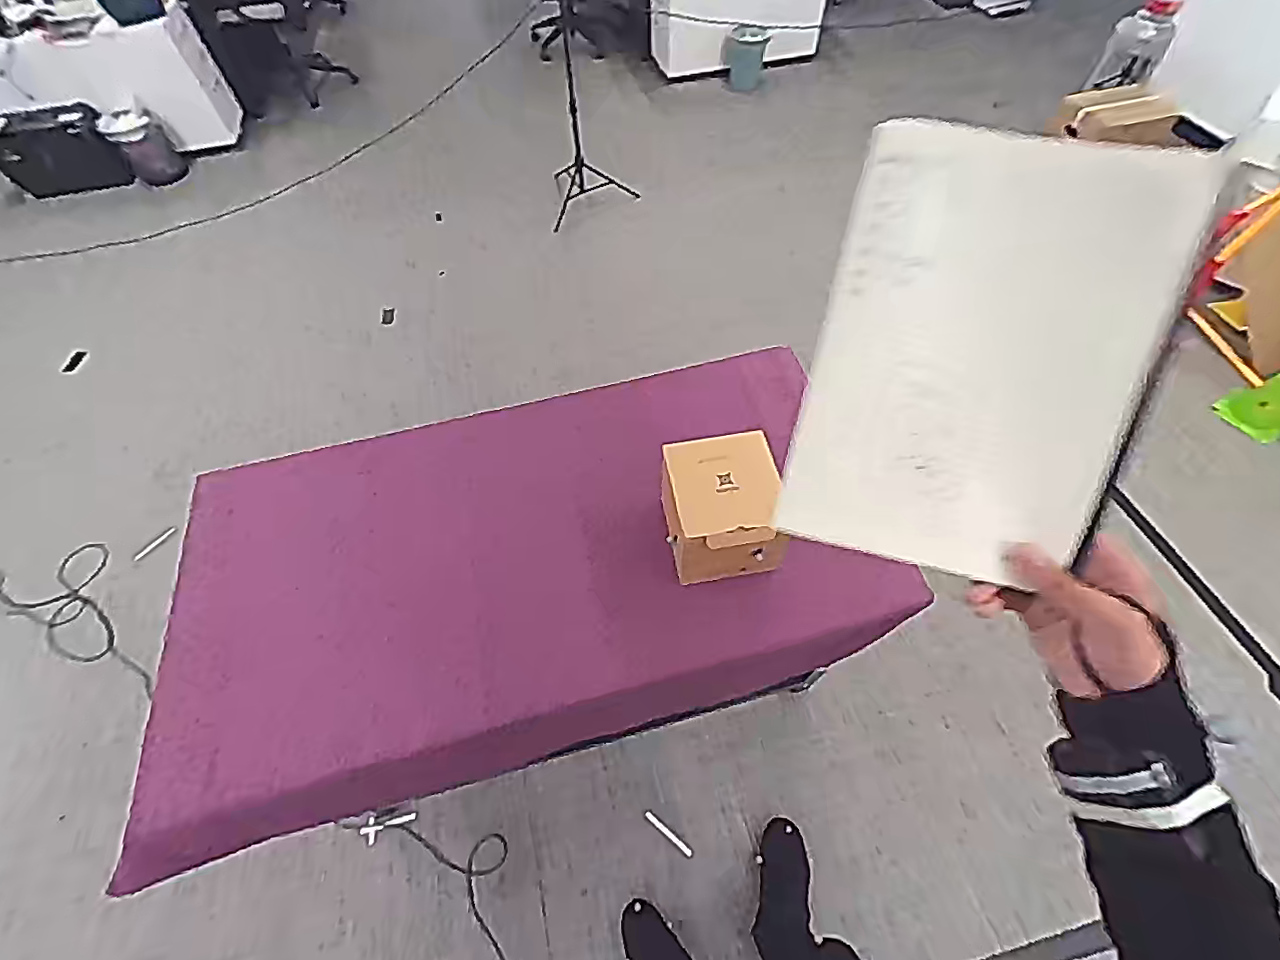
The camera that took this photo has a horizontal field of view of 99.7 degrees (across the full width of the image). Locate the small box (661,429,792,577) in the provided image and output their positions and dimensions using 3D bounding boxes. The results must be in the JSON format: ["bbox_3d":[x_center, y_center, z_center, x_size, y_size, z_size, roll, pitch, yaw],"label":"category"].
[{"bbox_3d":[0.130,0.045,0.879,0.168,0.176,0.179,-9,57,-4],"label":"small box"}]
